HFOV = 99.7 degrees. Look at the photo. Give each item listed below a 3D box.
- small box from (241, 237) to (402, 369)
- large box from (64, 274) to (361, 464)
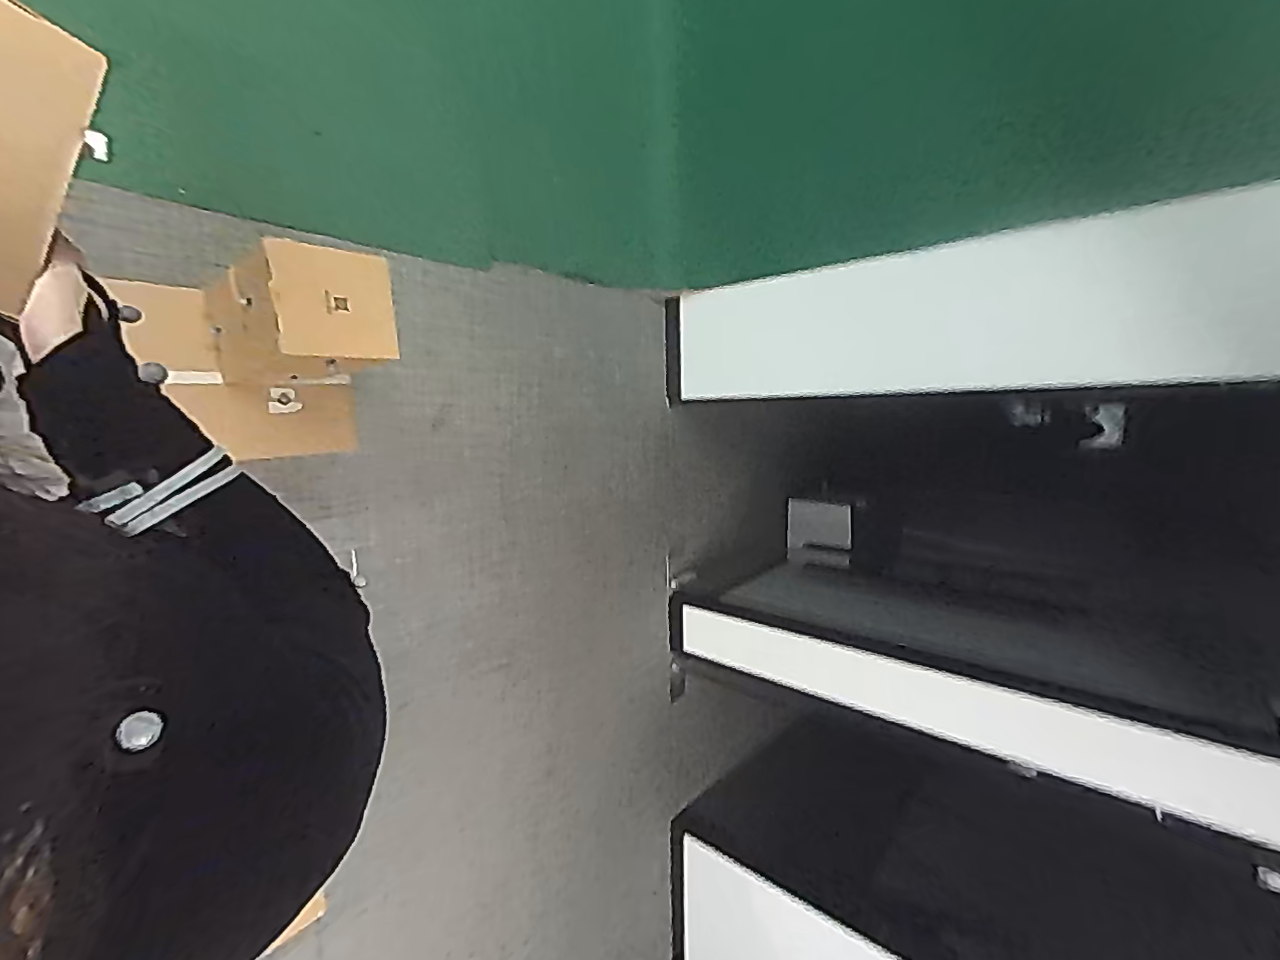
[{"bbox_3d":[-0.521,-0.277,0.889,0.179,0.176,0.168,-11,99,-48],"label":"small box"},{"bbox_3d":[-0.865,-0.212,1.120,0.408,0.320,0.320,-11,102,-50],"label":"large box"}]
